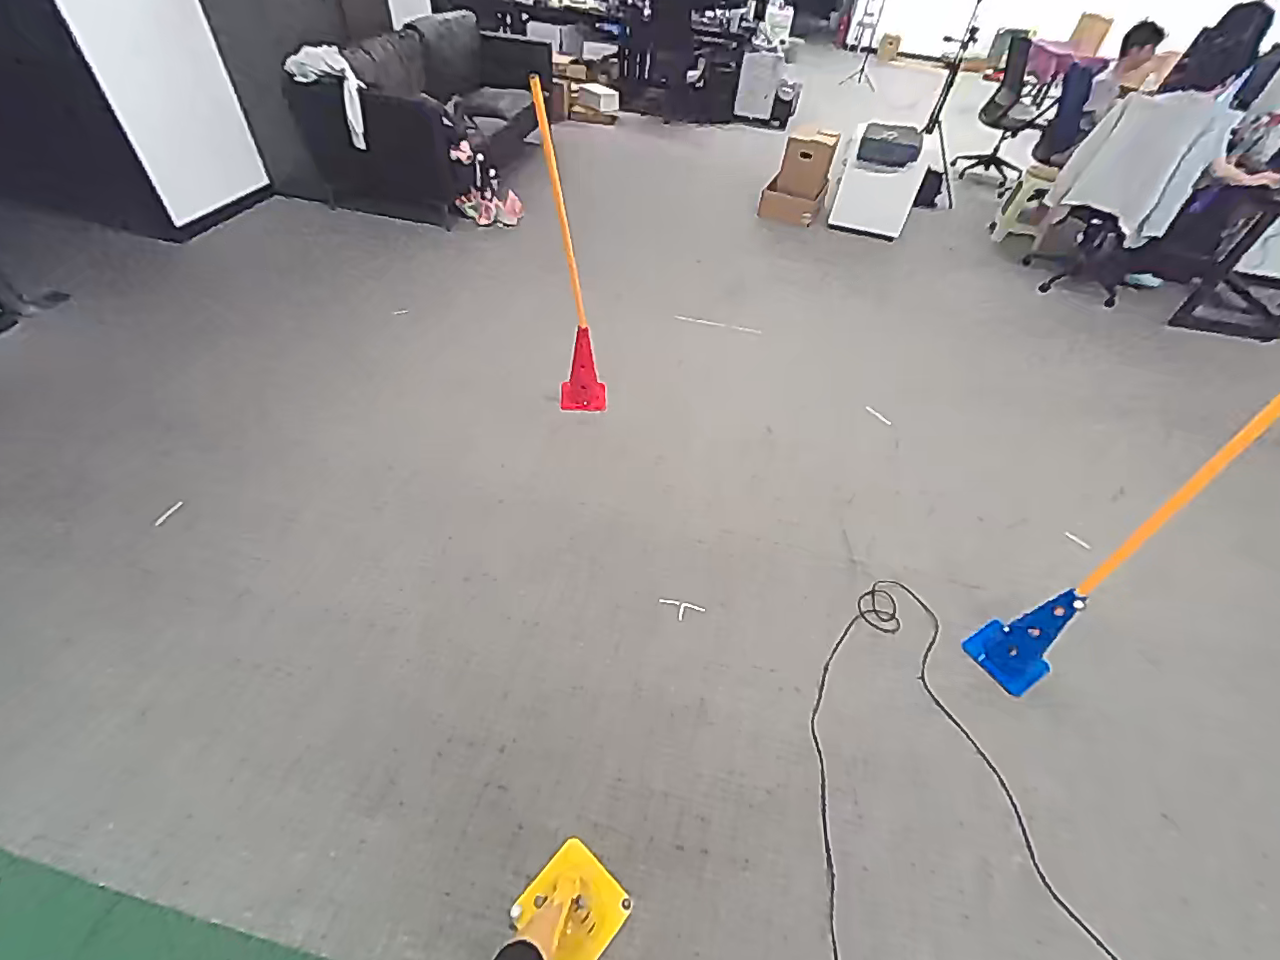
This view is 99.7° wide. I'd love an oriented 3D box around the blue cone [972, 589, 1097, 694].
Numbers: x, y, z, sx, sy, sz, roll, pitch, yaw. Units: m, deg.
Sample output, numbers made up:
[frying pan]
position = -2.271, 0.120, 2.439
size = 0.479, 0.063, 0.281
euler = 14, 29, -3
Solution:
[blue cone]
position = 1.159, 0.428, 1.558
size = 0.193, 0.380, 0.192
euler = -21, 51, -27
